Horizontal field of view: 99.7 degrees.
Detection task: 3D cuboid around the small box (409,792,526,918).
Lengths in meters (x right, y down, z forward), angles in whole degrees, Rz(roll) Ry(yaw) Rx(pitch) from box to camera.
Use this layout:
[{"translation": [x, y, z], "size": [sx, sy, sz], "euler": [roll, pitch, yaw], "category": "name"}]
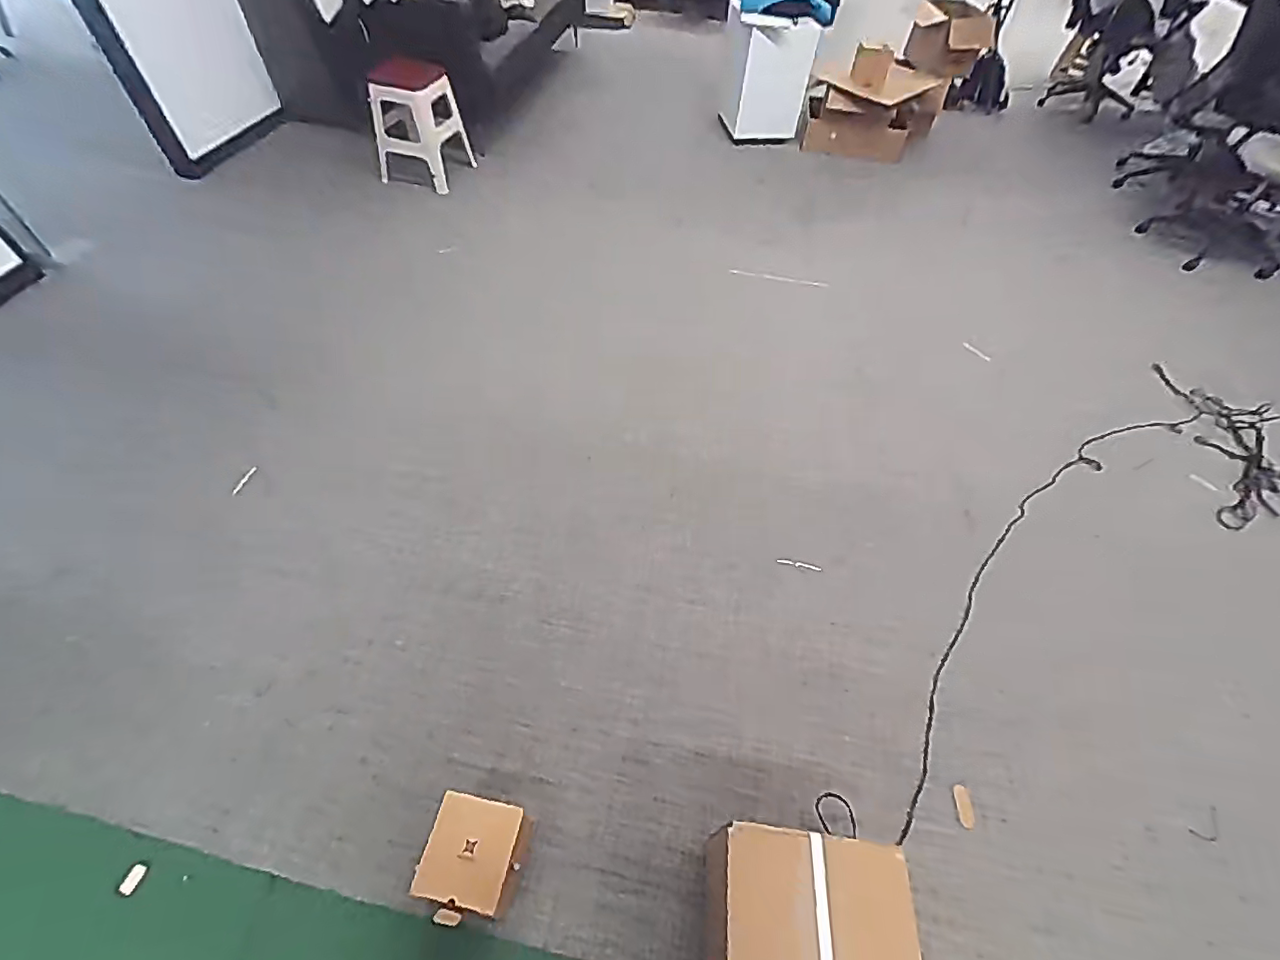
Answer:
[{"translation": [-0.338, 0.764, 1.103], "size": [0.168, 0.176, 0.179], "euler": [10, 53, 4], "category": "small box"}]
